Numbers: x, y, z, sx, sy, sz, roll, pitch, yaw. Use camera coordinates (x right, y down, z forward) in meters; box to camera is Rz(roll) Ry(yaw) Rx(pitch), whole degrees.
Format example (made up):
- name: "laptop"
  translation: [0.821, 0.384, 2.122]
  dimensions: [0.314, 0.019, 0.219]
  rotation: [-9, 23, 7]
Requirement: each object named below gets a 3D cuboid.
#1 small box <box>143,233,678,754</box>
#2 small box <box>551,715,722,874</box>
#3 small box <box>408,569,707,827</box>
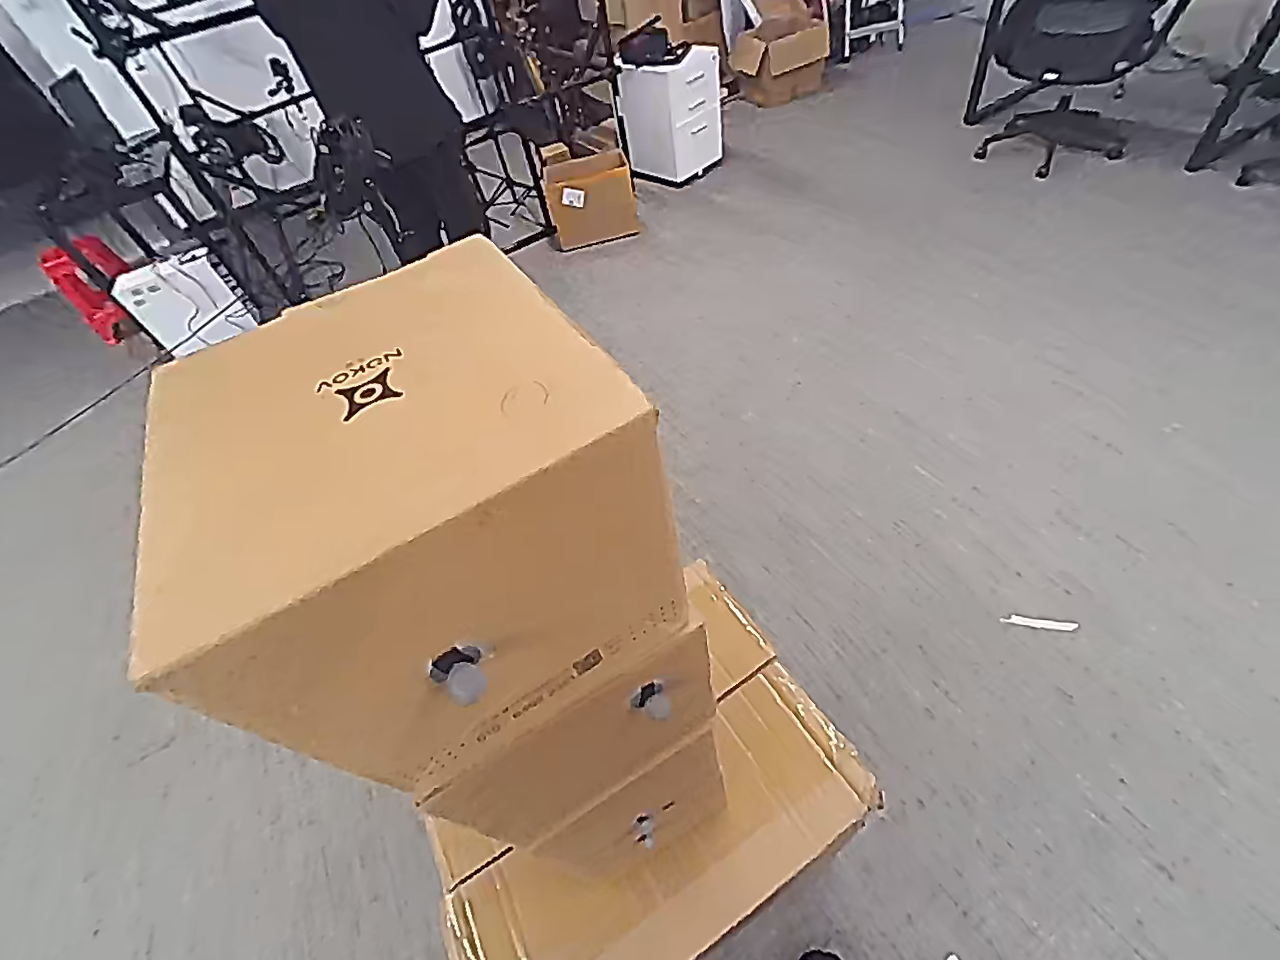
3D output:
- name: "small box"
  translation: [-0.096, 0.011, 0.277]
  dimensions: [0.168, 0.176, 0.179]
  rotation: [-30, 51, -14]
- name: "small box"
  translation: [-0.016, 0.330, 0.642]
  dimensions: [0.179, 0.176, 0.168]
  rotation: [-28, 50, -13]
- name: "small box"
  translation: [-0.065, 0.116, 0.397]
  dimensions: [0.179, 0.176, 0.168]
  rotation: [-29, 51, -13]
